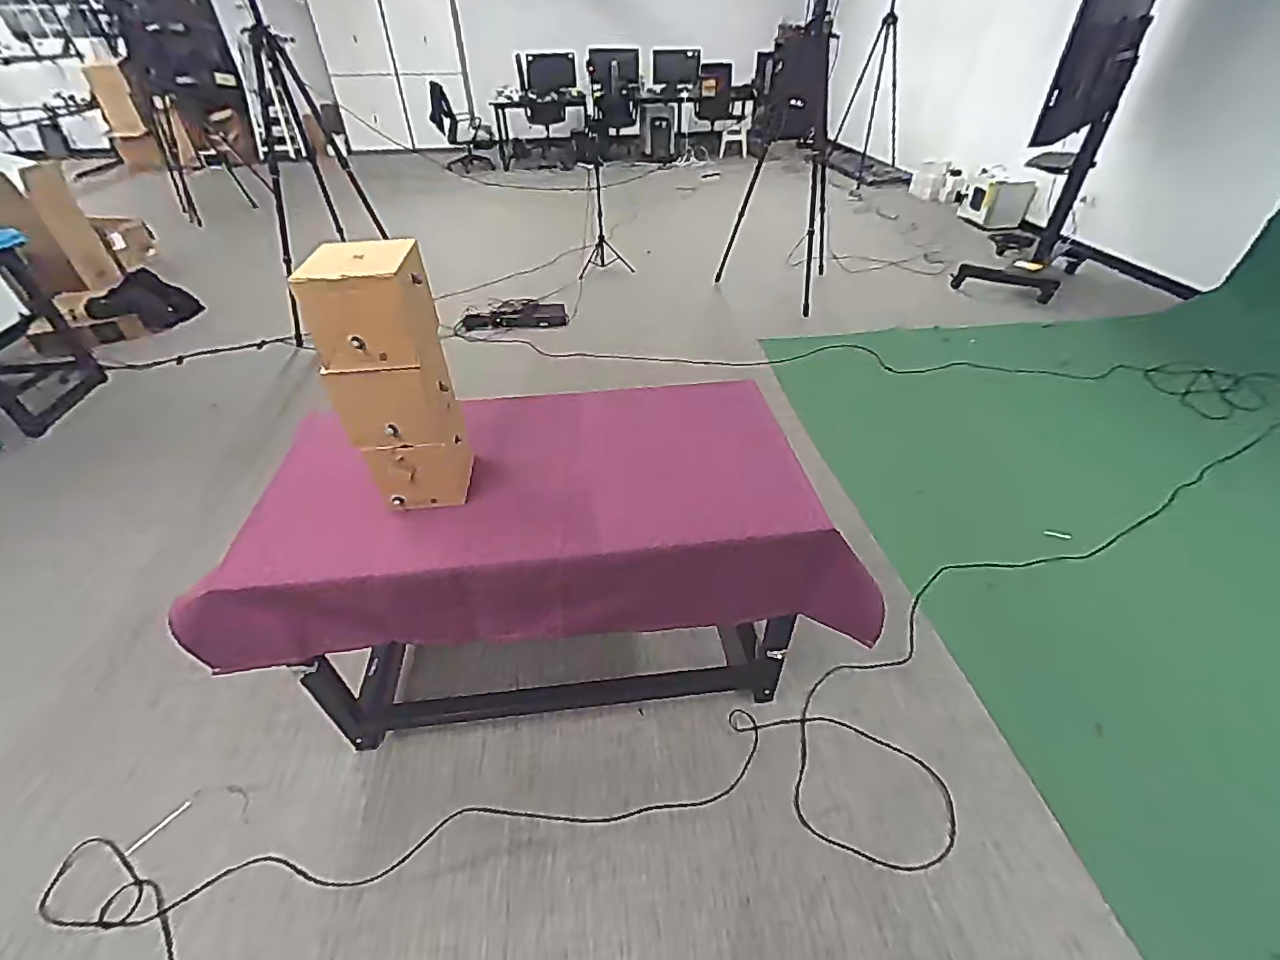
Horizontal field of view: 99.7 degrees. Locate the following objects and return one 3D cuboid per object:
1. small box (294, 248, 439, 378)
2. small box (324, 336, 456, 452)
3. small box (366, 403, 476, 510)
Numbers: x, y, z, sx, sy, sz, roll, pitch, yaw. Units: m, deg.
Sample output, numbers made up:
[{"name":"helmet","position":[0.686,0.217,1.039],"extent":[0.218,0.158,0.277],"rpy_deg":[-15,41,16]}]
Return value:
[{"name":"small box","position":[-0.470,-0.299,0.965],"extent":[0.168,0.176,0.179],"rpy_deg":[-5,41,-4]},{"name":"small box","position":[-0.476,-0.170,1.066],"extent":[0.179,0.176,0.168],"rpy_deg":[-4,40,-4]},{"name":"small box","position":[-0.462,-0.047,1.174],"extent":[0.168,0.176,0.179],"rpy_deg":[-5,40,-4]}]
